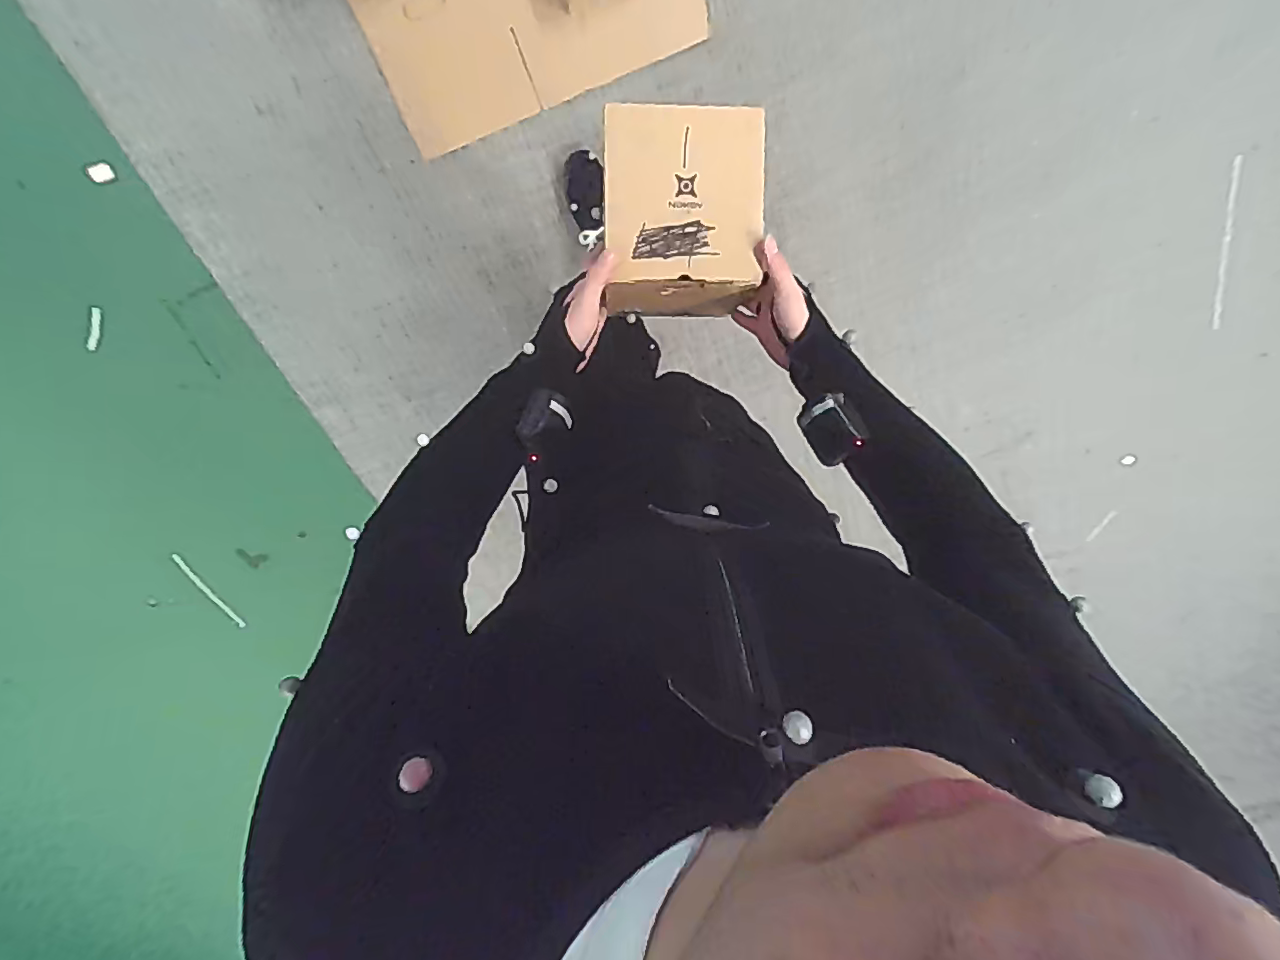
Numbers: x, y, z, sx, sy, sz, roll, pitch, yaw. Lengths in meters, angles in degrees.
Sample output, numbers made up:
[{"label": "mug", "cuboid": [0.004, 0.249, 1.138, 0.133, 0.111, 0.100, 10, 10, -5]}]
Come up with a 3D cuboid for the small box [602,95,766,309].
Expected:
[{"label": "small box", "cuboid": [0.042, -0.301, 0.622, 0.168, 0.176, 0.179, -1, 93, -2]}]

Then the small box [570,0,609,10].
[{"label": "small box", "cuboid": [-0.079, -1.025, 1.011, 0.168, 0.176, 0.179, -17, 117, 4]}]
